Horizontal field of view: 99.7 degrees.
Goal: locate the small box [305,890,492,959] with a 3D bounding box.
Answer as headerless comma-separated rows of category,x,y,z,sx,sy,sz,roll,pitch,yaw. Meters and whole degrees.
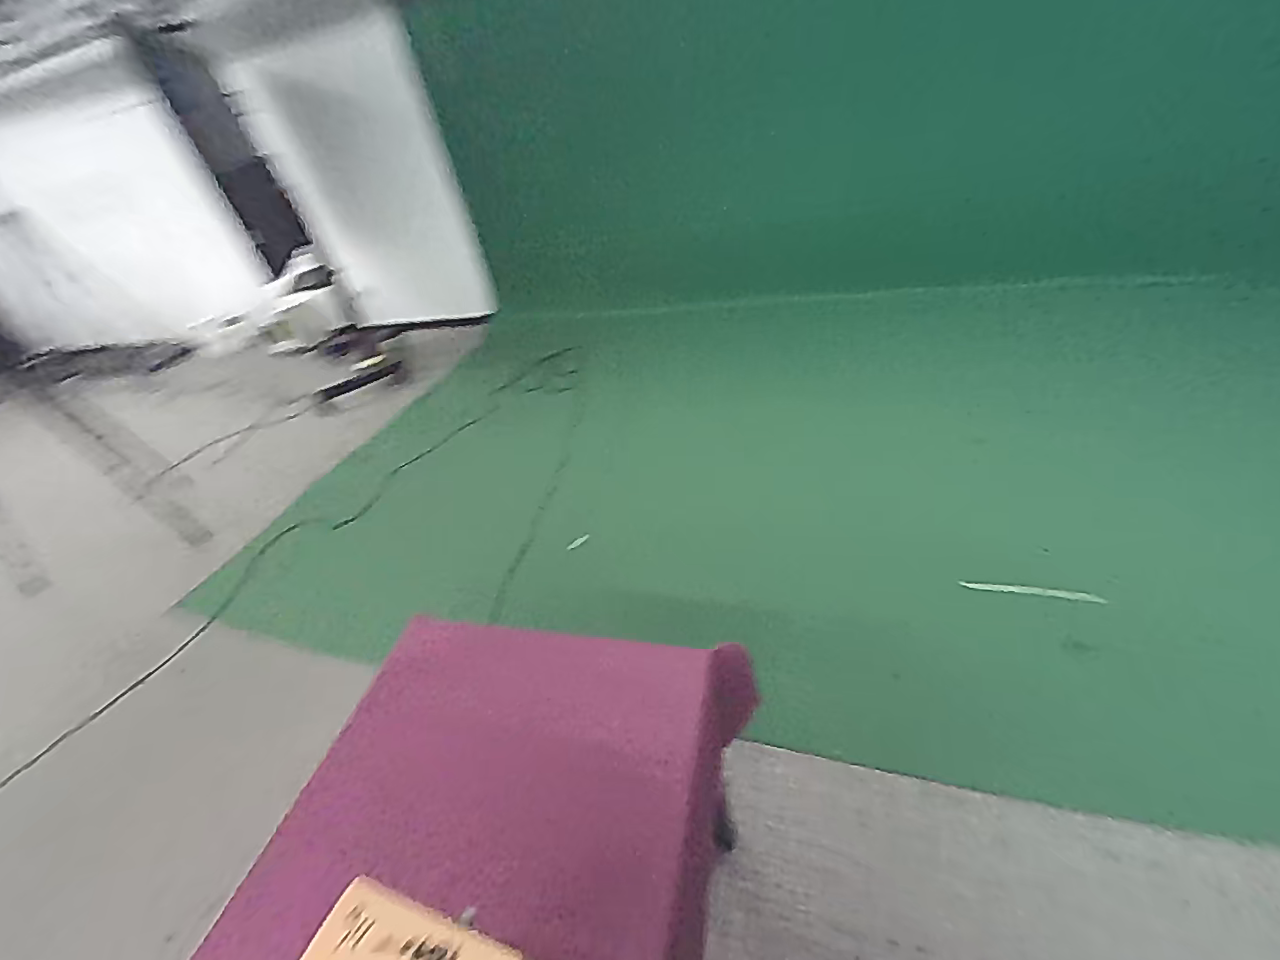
small box,-0.169,0.448,0.390,0.168,0.176,0.179,3,41,23
